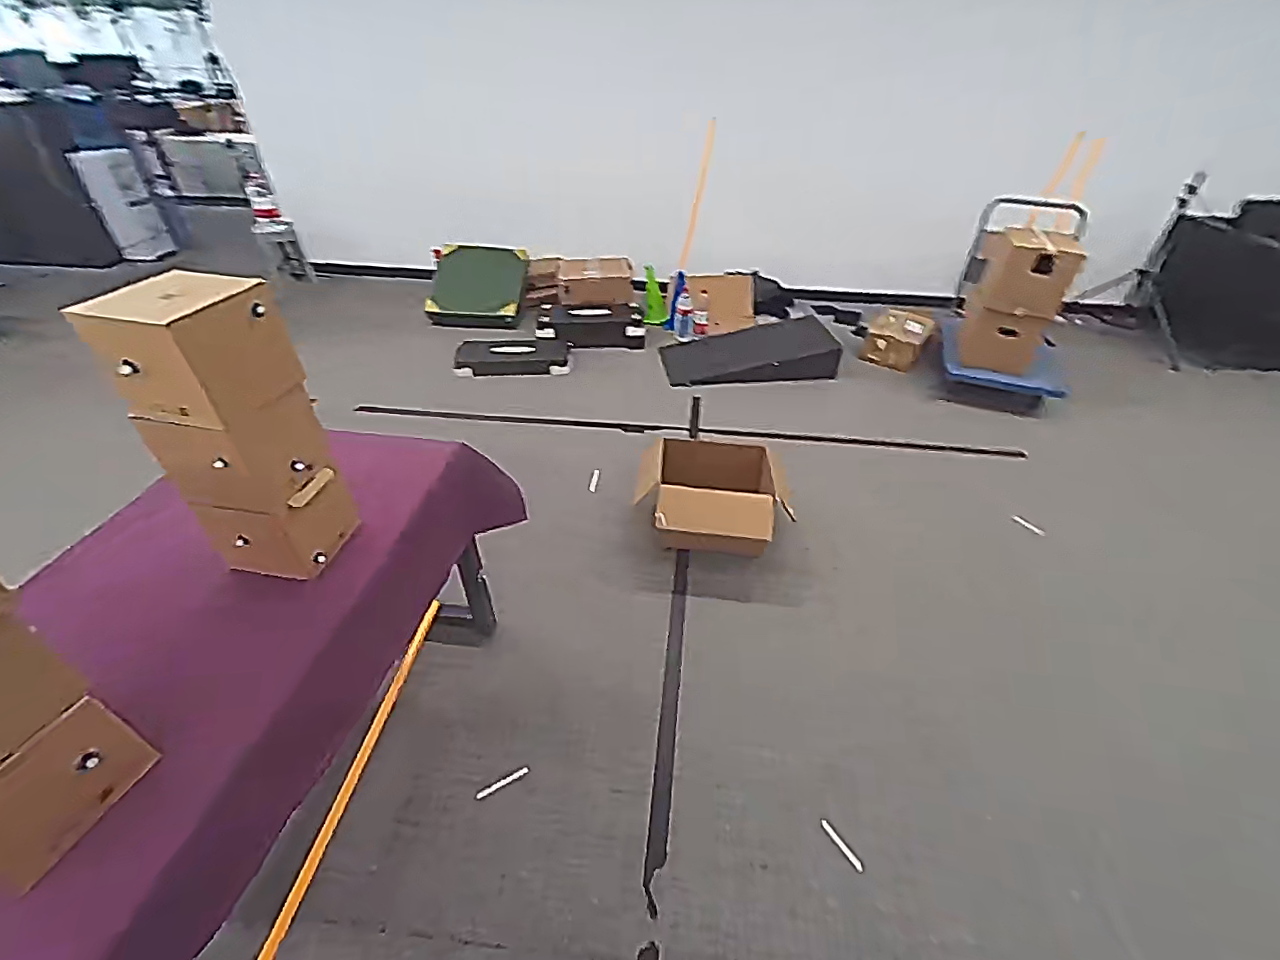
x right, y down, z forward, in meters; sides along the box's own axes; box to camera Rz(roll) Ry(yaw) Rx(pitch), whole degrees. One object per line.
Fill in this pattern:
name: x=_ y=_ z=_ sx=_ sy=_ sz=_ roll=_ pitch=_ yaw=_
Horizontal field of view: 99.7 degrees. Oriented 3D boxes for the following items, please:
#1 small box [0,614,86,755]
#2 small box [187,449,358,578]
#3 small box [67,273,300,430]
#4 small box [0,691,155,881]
small box: x=-0.761 y=0.219 z=0.560 sx=0.168 sy=0.176 sz=0.179 roll=14 pitch=40 yaw=14
small box: x=-0.668 y=0.064 z=1.011 sx=0.179 sy=0.176 sz=0.168 roll=6 pitch=39 yaw=8
small box: x=-0.658 y=-0.193 z=0.810 sx=0.168 sy=0.176 sz=0.179 roll=9 pitch=39 yaw=9
small box: x=-0.764 y=0.350 z=0.658 sx=0.179 sy=0.176 sz=0.168 roll=12 pitch=39 yaw=14
